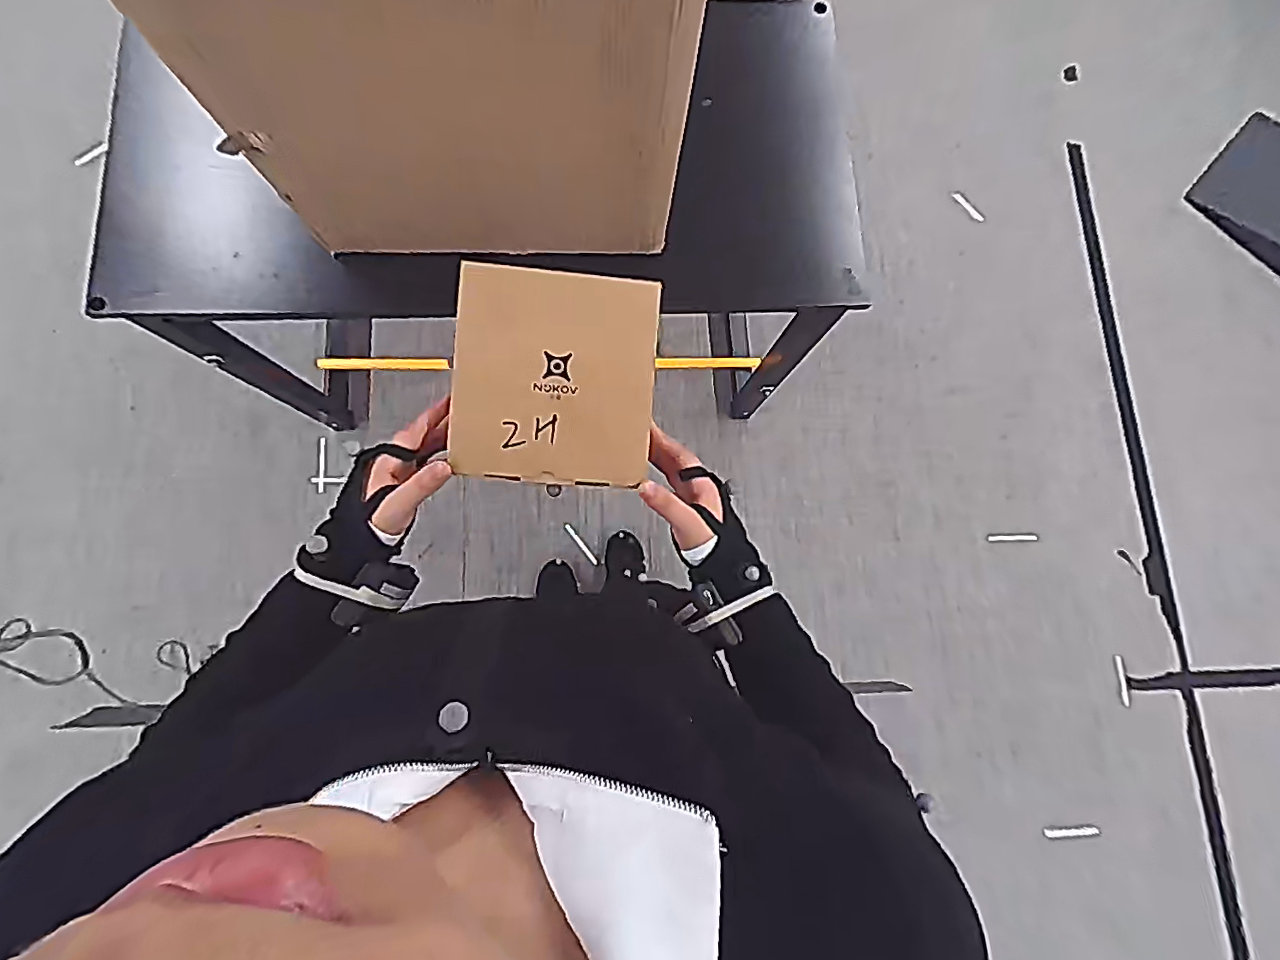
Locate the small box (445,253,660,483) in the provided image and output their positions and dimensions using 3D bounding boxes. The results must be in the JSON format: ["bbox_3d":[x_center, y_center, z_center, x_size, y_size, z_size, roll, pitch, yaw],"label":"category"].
[{"bbox_3d":[-0.078,-0.091,0.523,0.168,0.176,0.179,4,89,-5],"label":"small box"}]
